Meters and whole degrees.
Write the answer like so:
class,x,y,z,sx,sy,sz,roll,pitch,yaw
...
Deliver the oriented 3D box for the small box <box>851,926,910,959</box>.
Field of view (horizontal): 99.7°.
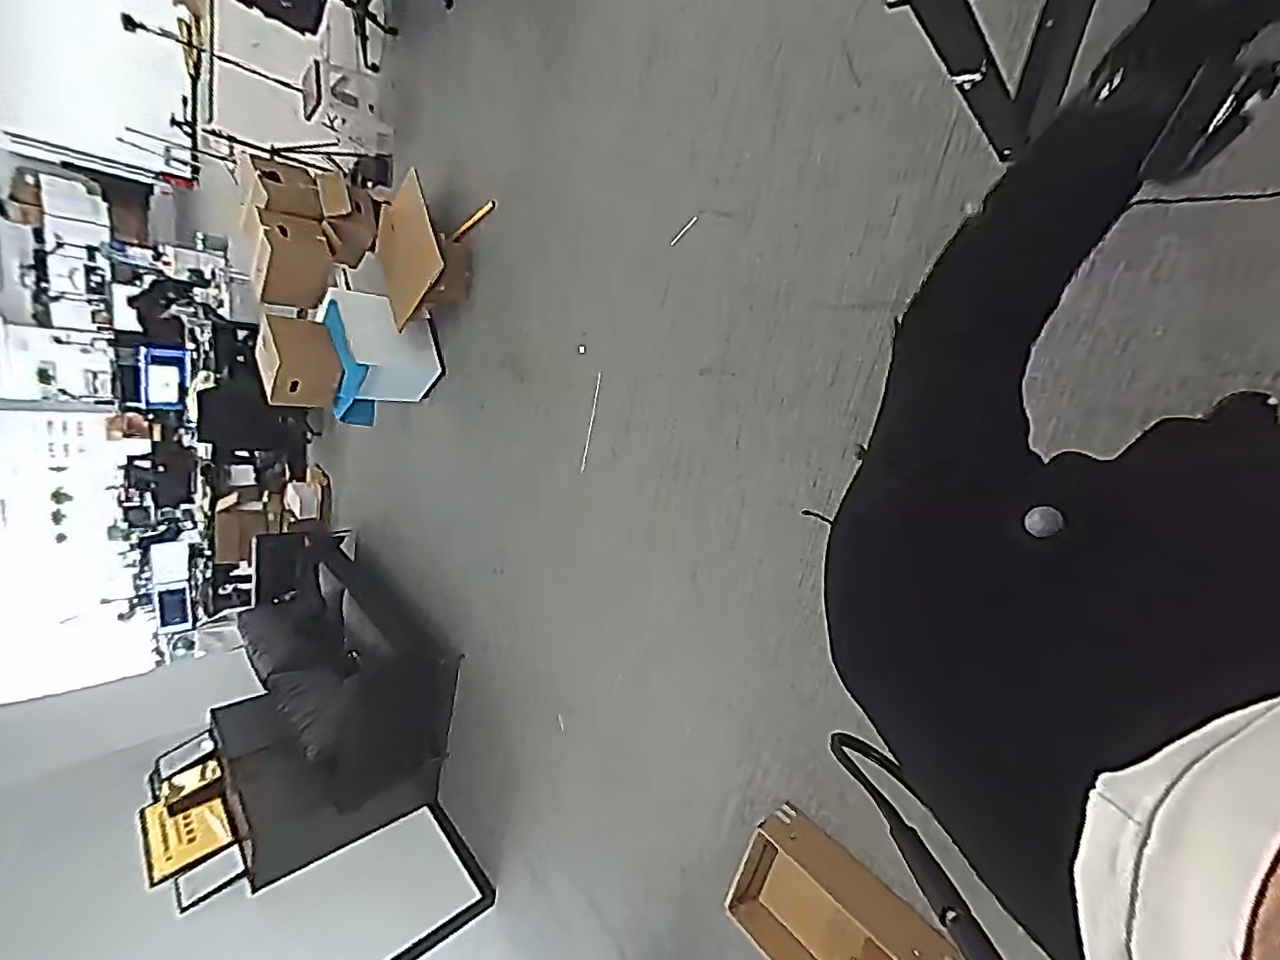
class,x,y,z,sx,sy,sz,roll,pitch,yaw
small box,0.693,1.465,1.569,0.168,0.176,0.179,29,113,39
